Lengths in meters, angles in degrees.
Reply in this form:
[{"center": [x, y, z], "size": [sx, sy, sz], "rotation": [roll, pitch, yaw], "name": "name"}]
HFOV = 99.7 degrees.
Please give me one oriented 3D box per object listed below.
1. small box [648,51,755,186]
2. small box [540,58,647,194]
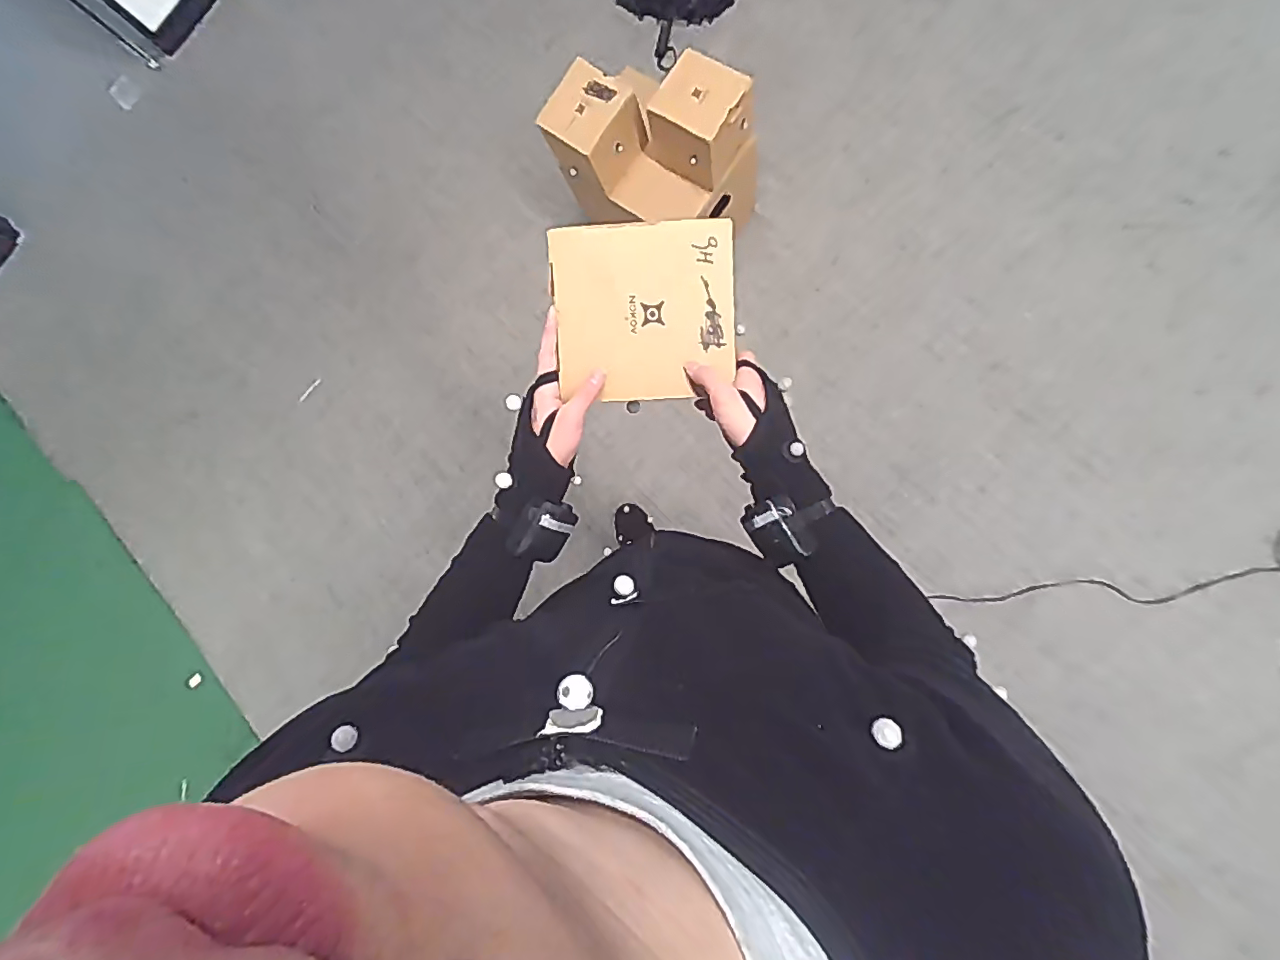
[{"center": [0.145, -0.819, 1.244], "size": [0.179, 0.176, 0.168], "rotation": [35, 89, 13], "name": "small box"}, {"center": [-0.100, -0.835, 1.293], "size": [0.168, 0.176, 0.179], "rotation": [39, 96, 12], "name": "small box"}]
